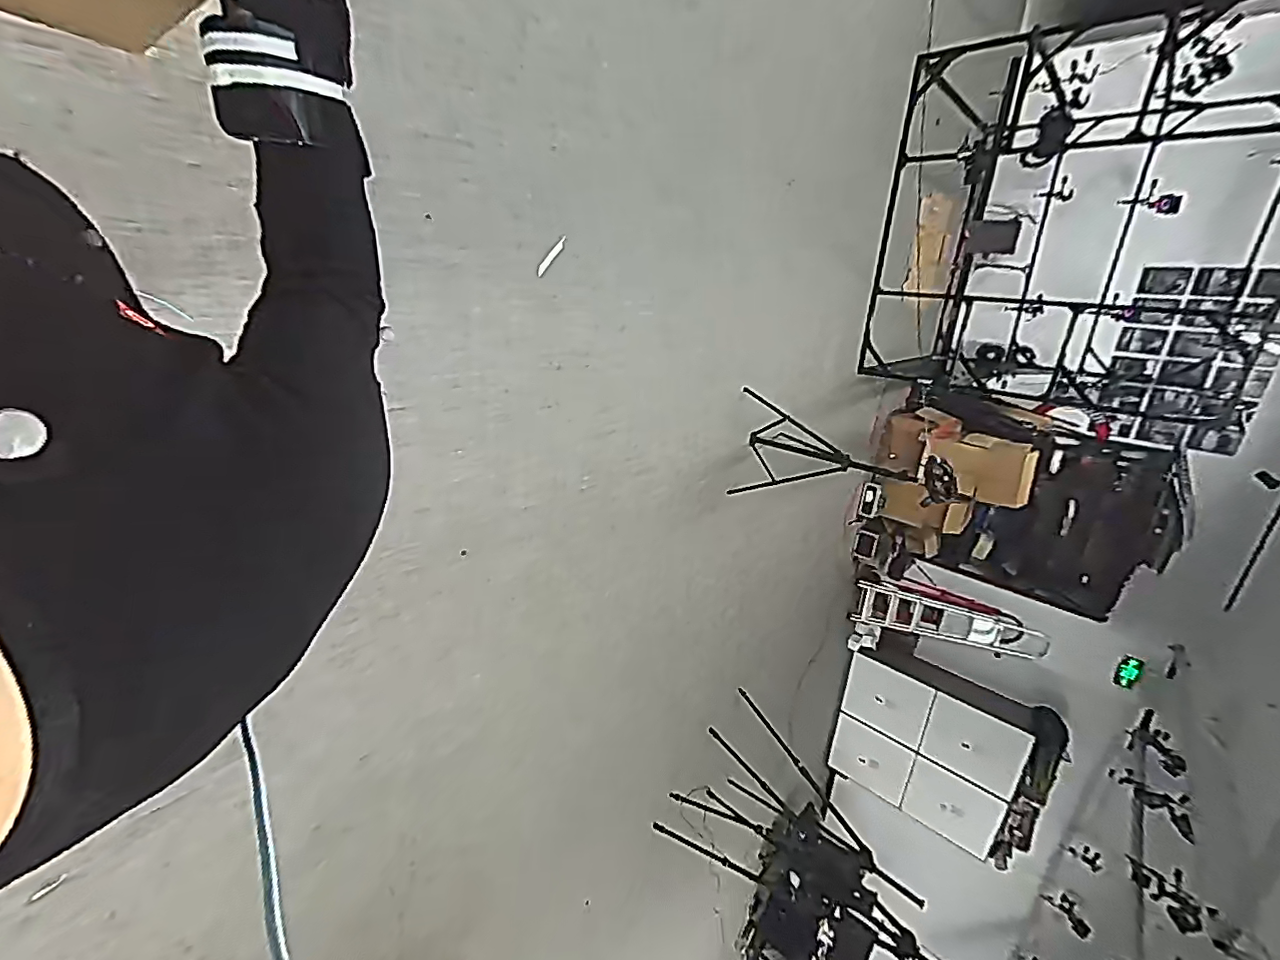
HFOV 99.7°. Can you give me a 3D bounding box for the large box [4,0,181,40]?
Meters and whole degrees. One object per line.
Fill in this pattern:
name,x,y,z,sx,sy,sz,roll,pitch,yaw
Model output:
large box,-0.466,-0.471,0.223,0.408,0.320,0.320,-15,119,-48
